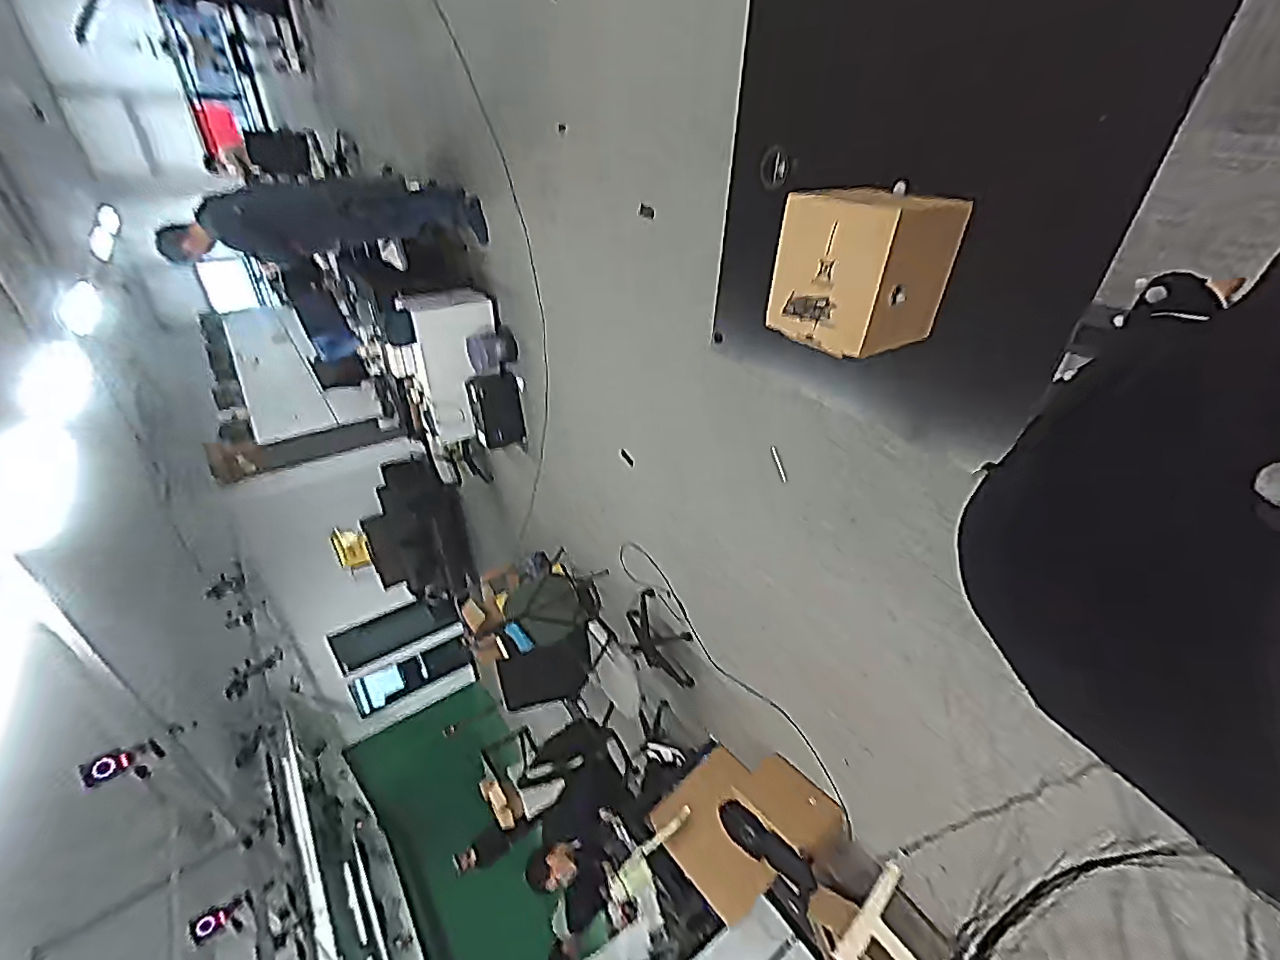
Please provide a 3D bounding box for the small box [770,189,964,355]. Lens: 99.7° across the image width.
[{"bbox_3d":[0.310,-0.295,0.750,0.168,0.176,0.179,38,137,41],"label":"small box"}]
